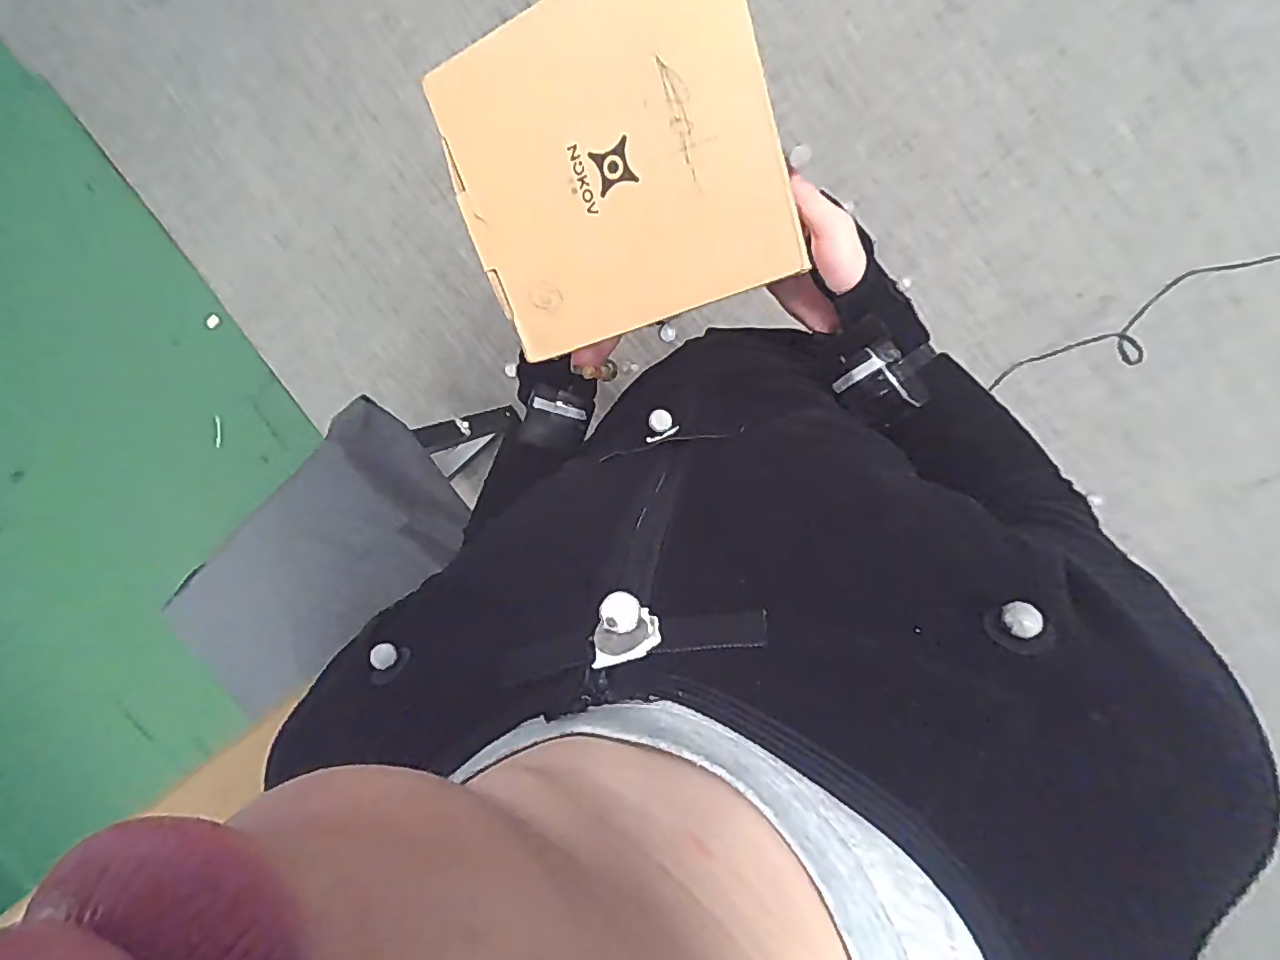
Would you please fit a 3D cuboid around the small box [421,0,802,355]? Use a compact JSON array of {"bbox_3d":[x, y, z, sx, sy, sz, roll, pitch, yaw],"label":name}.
[{"bbox_3d":[0.003,-0.196,0.359,0.179,0.176,0.168,-14,106,21],"label":"small box"}]
